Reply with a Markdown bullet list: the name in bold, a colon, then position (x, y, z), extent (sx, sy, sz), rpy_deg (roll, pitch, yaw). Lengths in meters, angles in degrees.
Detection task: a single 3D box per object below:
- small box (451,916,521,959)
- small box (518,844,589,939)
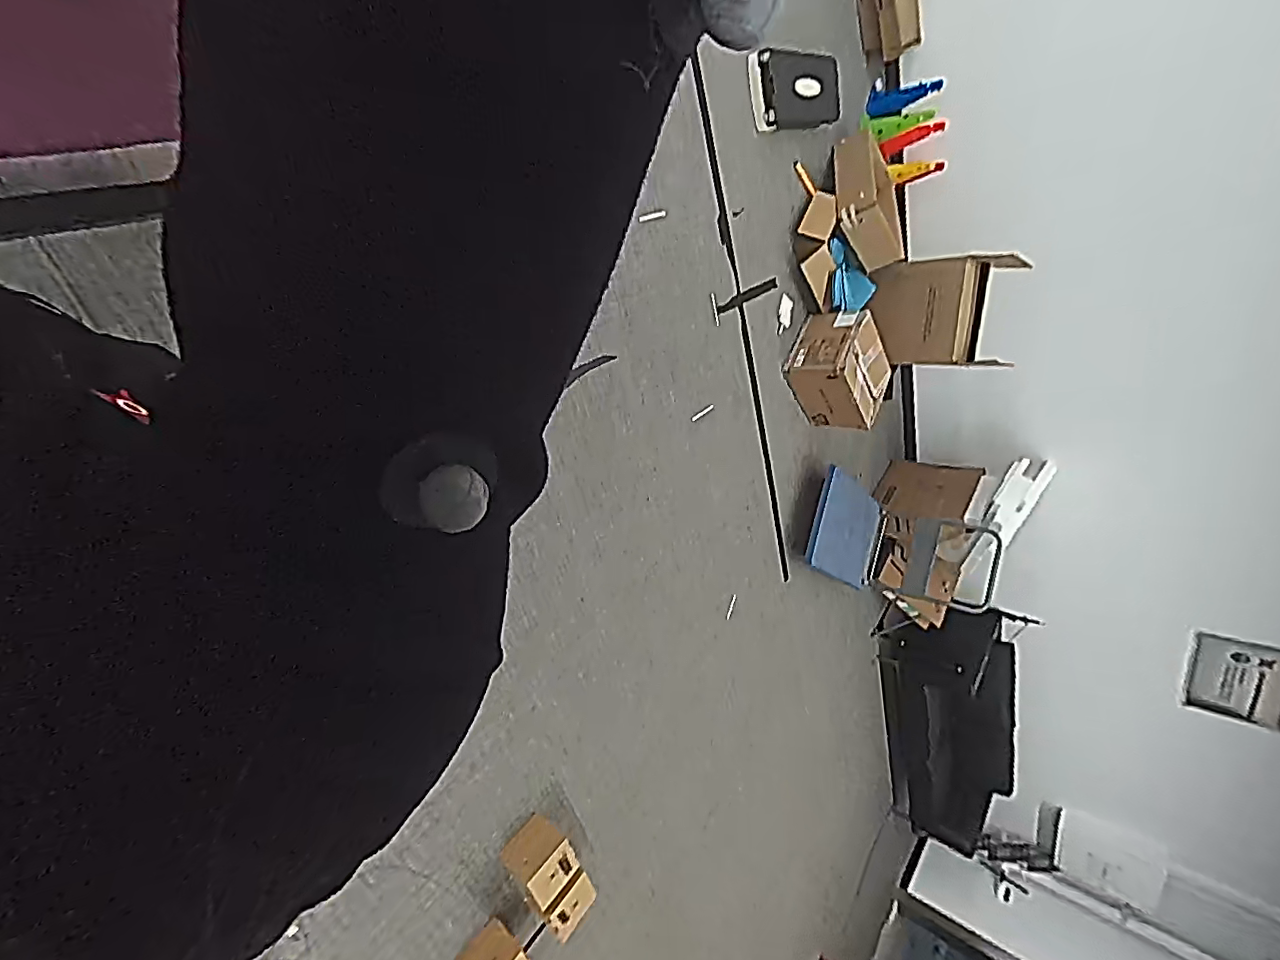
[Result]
- **small box**: position (-0.501, 1.601, 1.769), extent (0.179, 0.176, 0.168), rpy_deg (-35, 121, -39)
- **small box**: position (-0.317, 1.470, 1.942), extent (0.179, 0.176, 0.168), rpy_deg (-36, 122, -38)
